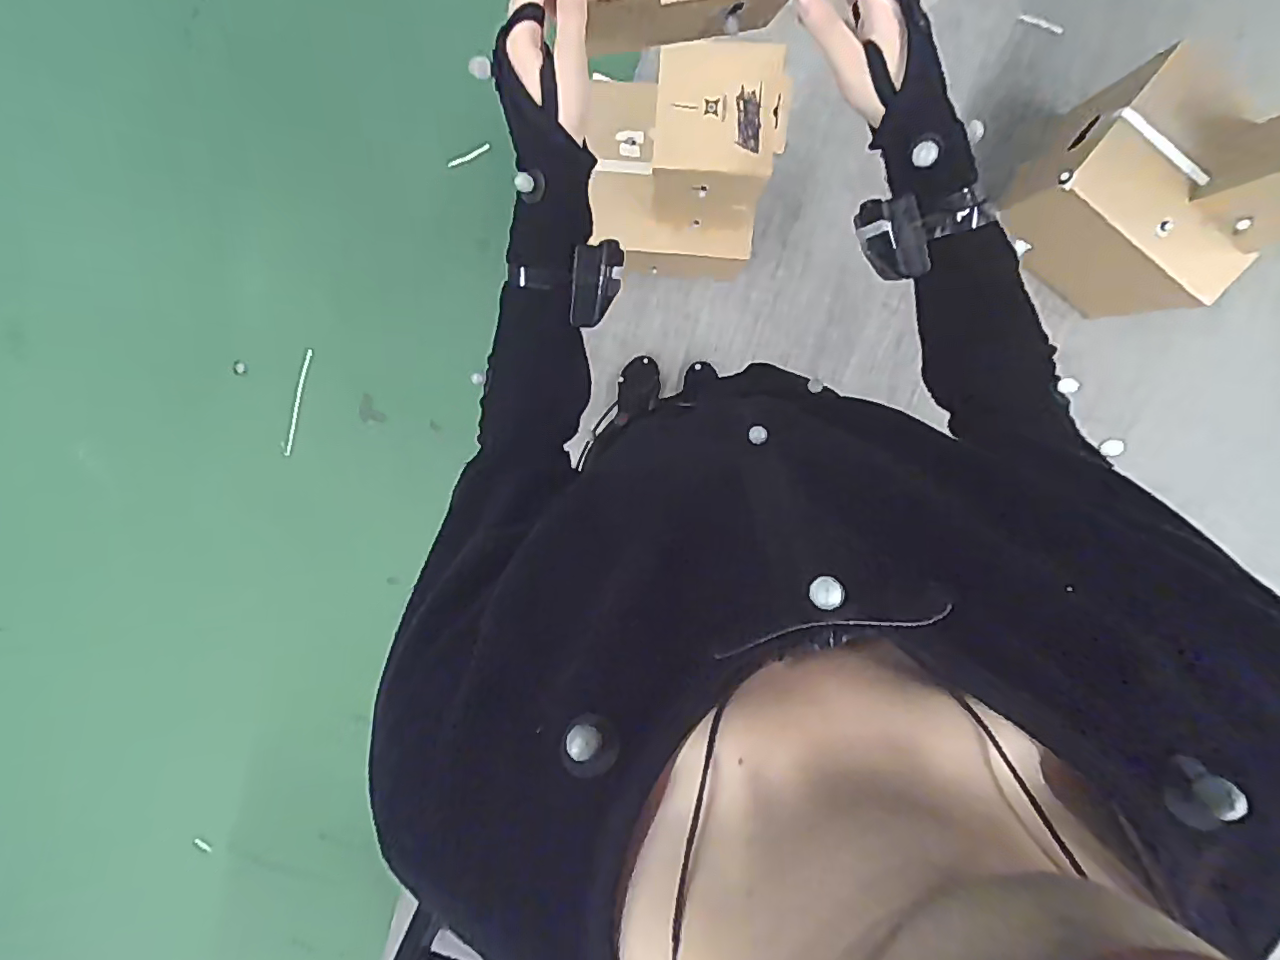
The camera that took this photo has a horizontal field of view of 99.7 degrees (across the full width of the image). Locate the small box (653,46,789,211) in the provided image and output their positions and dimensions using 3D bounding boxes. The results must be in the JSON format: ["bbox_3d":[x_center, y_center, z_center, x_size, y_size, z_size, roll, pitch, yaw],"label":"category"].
[{"bbox_3d":[0.117,-0.532,0.843,0.179,0.176,0.168,6,102,3],"label":"small box"}]

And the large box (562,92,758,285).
[{"bbox_3d":[0.055,-0.639,1.243,0.408,0.320,0.320,5,100,3],"label":"large box"}]

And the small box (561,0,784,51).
[{"bbox_3d":[0.022,-0.417,0.366,0.168,0.176,0.179,-7,118,2],"label":"small box"}]

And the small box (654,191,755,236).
[{"bbox_3d":[0.126,-0.566,1.004,0.179,0.176,0.168,10,101,1],"label":"small box"}]

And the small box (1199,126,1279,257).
[{"bbox_3d":[1.184,-0.533,0.961,0.168,0.176,0.179,37,99,-4],"label":"small box"}]
